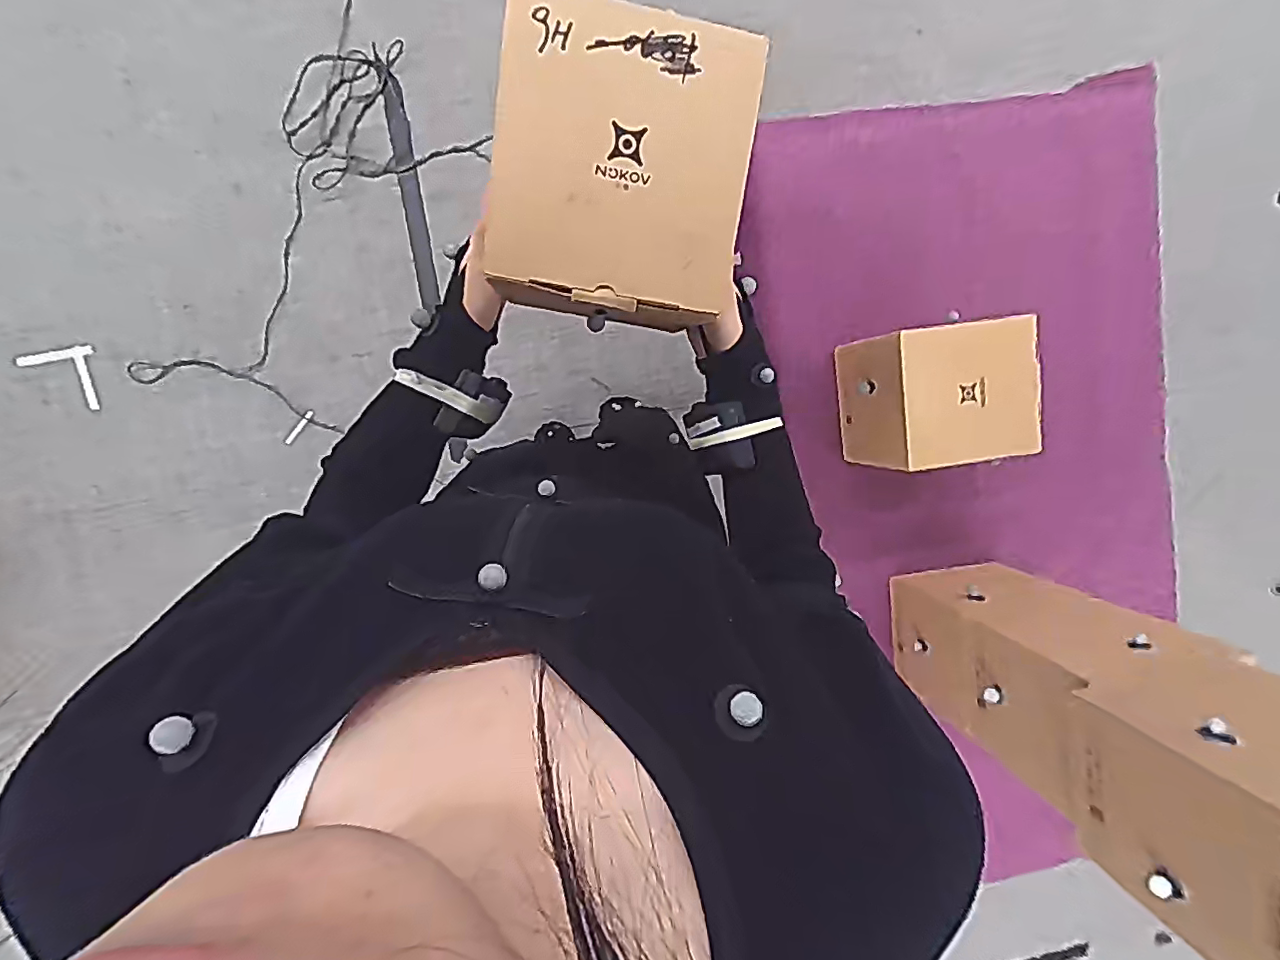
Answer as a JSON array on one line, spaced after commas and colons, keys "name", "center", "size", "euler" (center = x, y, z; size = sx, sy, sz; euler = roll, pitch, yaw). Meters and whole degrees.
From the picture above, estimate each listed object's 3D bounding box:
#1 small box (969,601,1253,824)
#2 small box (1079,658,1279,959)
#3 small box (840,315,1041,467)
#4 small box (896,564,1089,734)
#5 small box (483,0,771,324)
[{"name": "small box", "center": [0.505, 0.246, 0.602], "size": [0.179, 0.176, 0.168], "euler": [-7, 96, -5]}, {"name": "small box", "center": [0.501, 0.268, 0.440], "size": [0.179, 0.176, 0.168], "euler": [-10, 98, -6]}, {"name": "small box", "center": [0.382, -0.112, 0.718], "size": [0.179, 0.176, 0.168], "euler": [-8, 97, -7]}, {"name": "small box", "center": [0.482, 0.226, 0.764], "size": [0.179, 0.176, 0.168], "euler": [-6, 97, -6]}, {"name": "small box", "center": [-0.018, -0.224, 0.423], "size": [0.168, 0.176, 0.179], "euler": [7, 102, -9]}]
